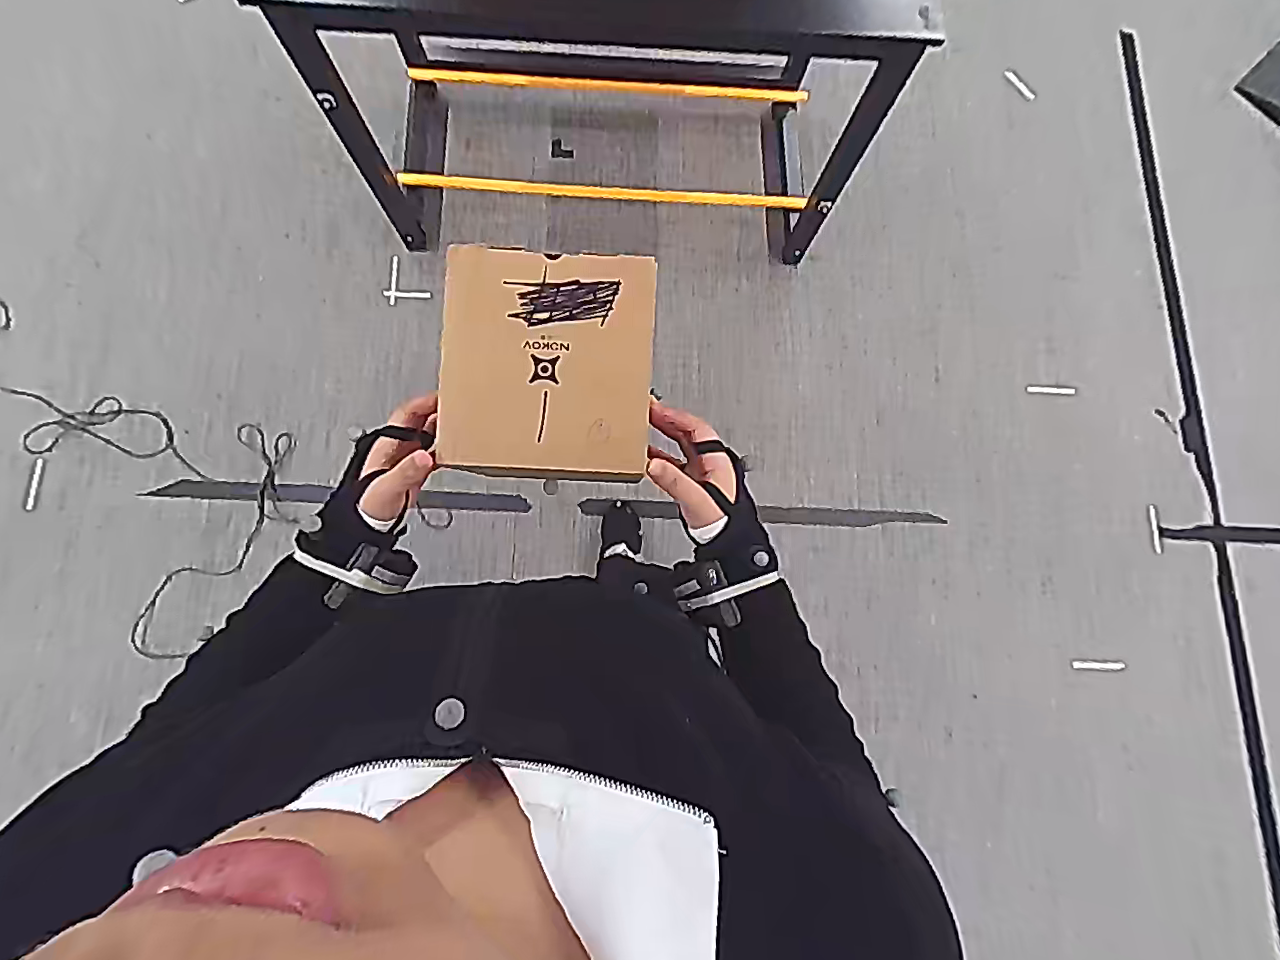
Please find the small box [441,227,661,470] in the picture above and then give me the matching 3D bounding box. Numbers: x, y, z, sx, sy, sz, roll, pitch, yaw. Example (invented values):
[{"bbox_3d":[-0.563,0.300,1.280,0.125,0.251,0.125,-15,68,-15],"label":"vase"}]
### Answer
[{"bbox_3d":[-0.072,-0.106,0.505,0.168,0.176,0.179,2,87,-2],"label":"small box"}]
